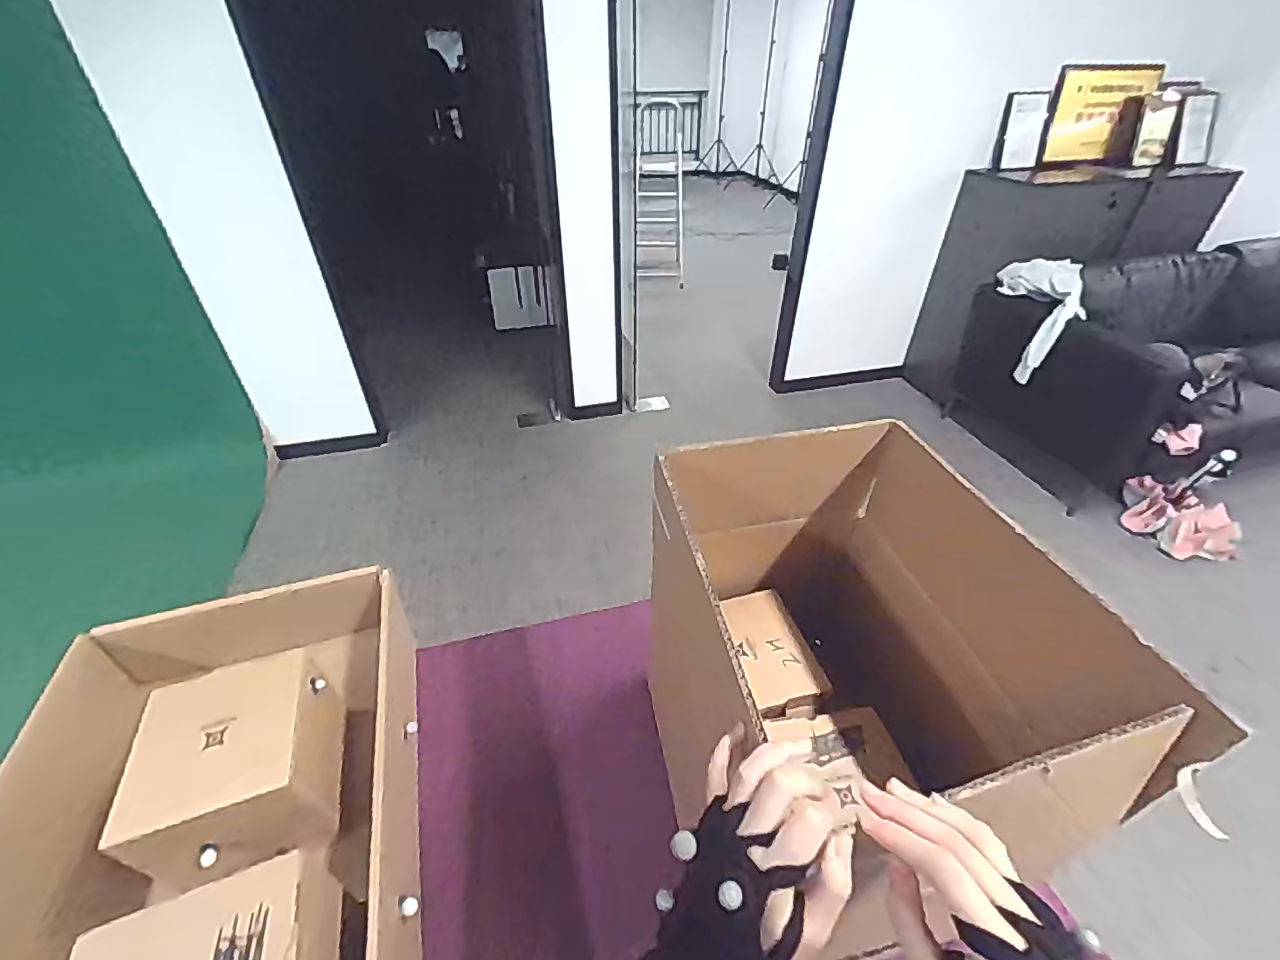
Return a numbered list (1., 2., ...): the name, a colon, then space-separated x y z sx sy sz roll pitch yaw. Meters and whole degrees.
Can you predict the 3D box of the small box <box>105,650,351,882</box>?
1. small box: -0.463 0.344 0.647 0.168 0.176 0.179 -14 41 -15
